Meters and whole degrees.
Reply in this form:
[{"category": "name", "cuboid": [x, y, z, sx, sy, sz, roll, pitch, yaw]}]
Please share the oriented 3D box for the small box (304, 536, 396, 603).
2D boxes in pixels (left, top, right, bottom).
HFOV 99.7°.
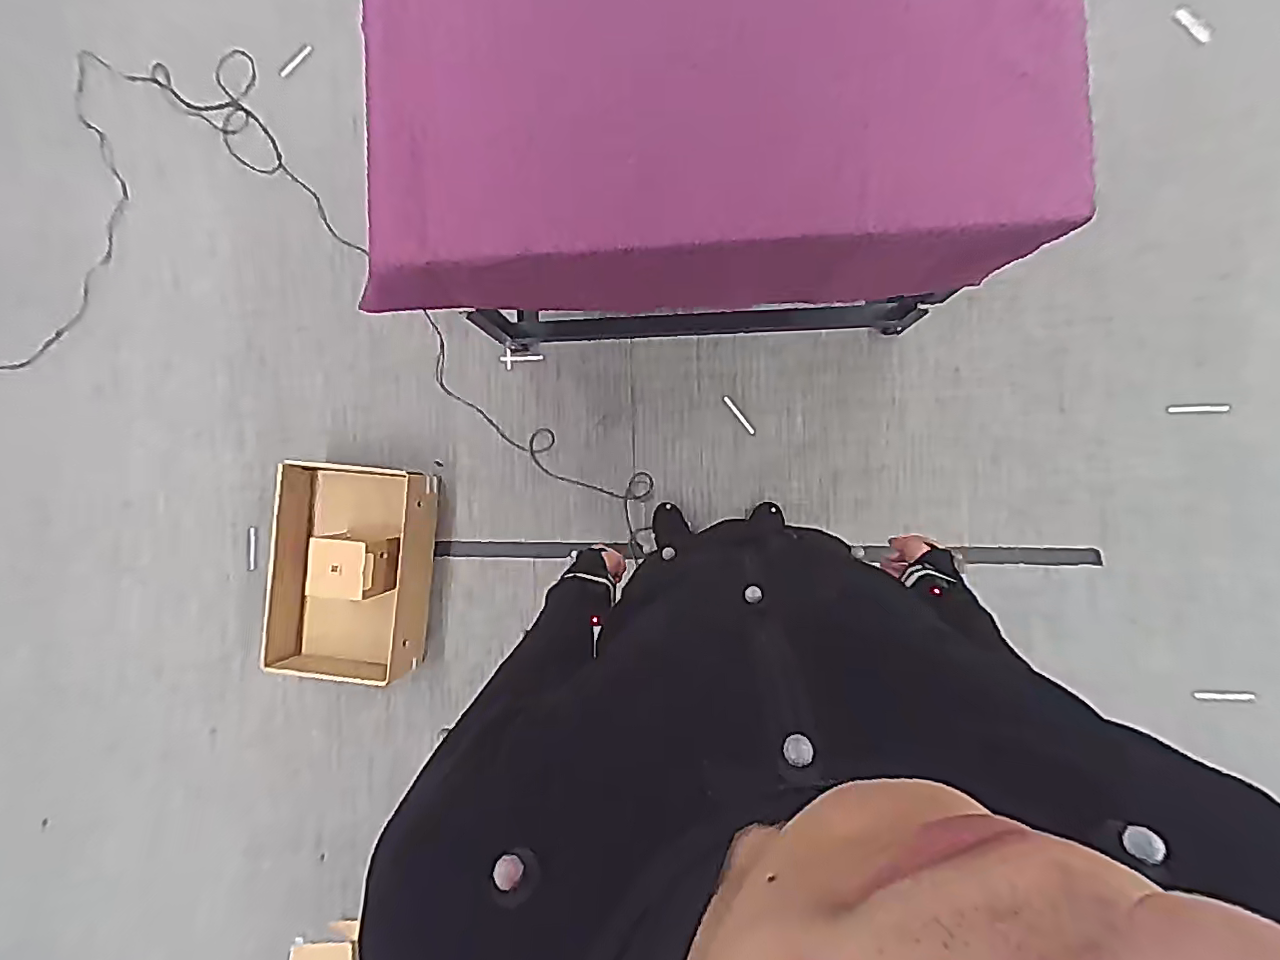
[{"category": "small box", "cuboid": [-0.847, 0.257, 1.596, 0.179, 0.176, 0.168, 5, 89, 5]}]
